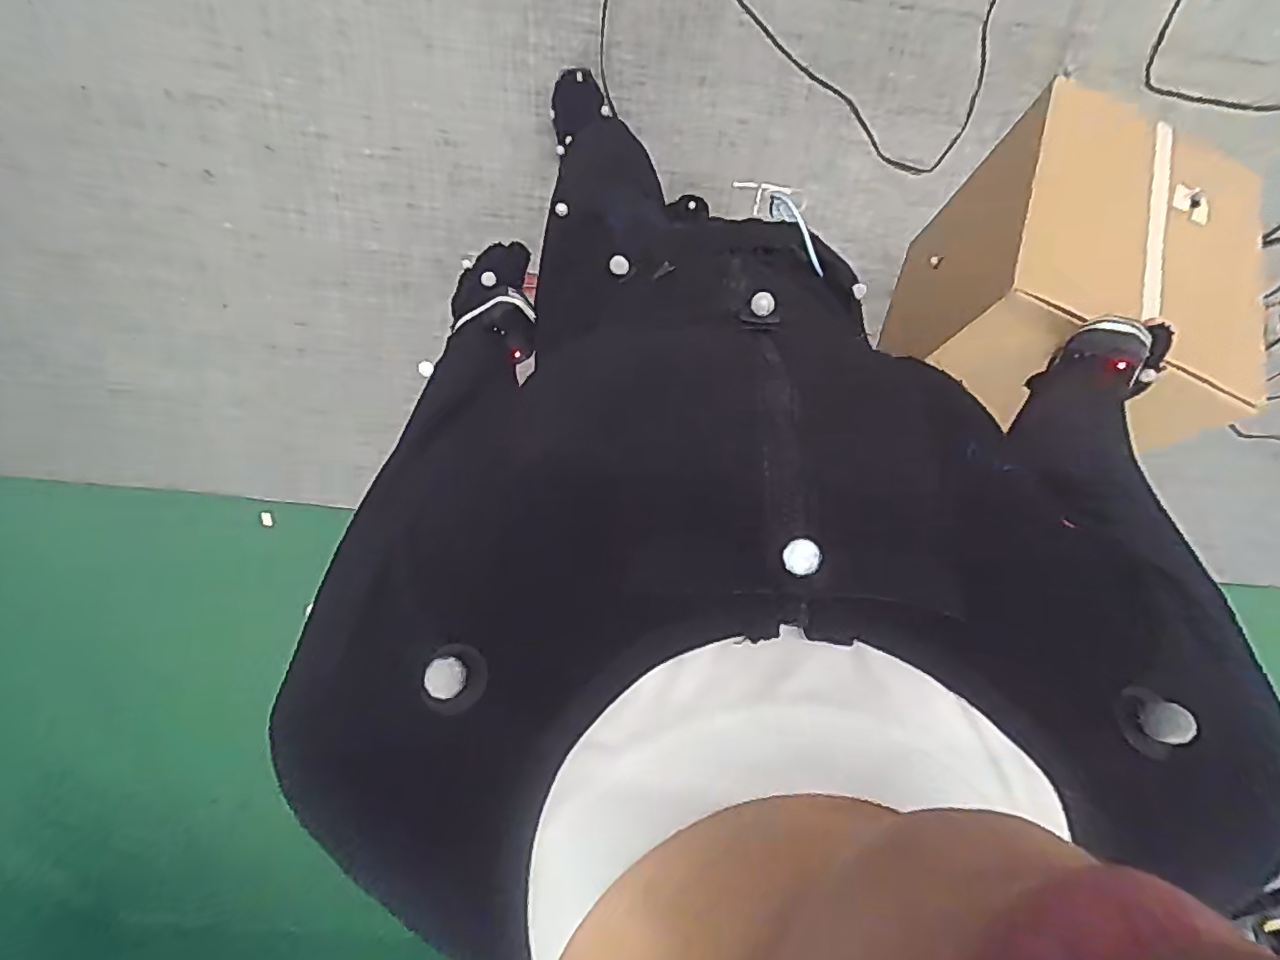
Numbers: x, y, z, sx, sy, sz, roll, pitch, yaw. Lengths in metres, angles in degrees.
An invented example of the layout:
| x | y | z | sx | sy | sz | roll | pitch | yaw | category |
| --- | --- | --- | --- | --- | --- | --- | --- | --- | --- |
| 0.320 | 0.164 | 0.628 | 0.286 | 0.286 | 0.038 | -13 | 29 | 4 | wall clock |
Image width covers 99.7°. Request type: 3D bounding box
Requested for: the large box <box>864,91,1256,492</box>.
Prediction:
| x | y | z | sx | sy | sz | roll | pitch | yaw | category |
| --- | --- | --- | --- | --- | --- | --- | --- | --- | --- |
| 0.587 | -0.252 | 0.804 | 0.320 | 0.408 | 0.320 | 25 | 158 | -2 | large box |
